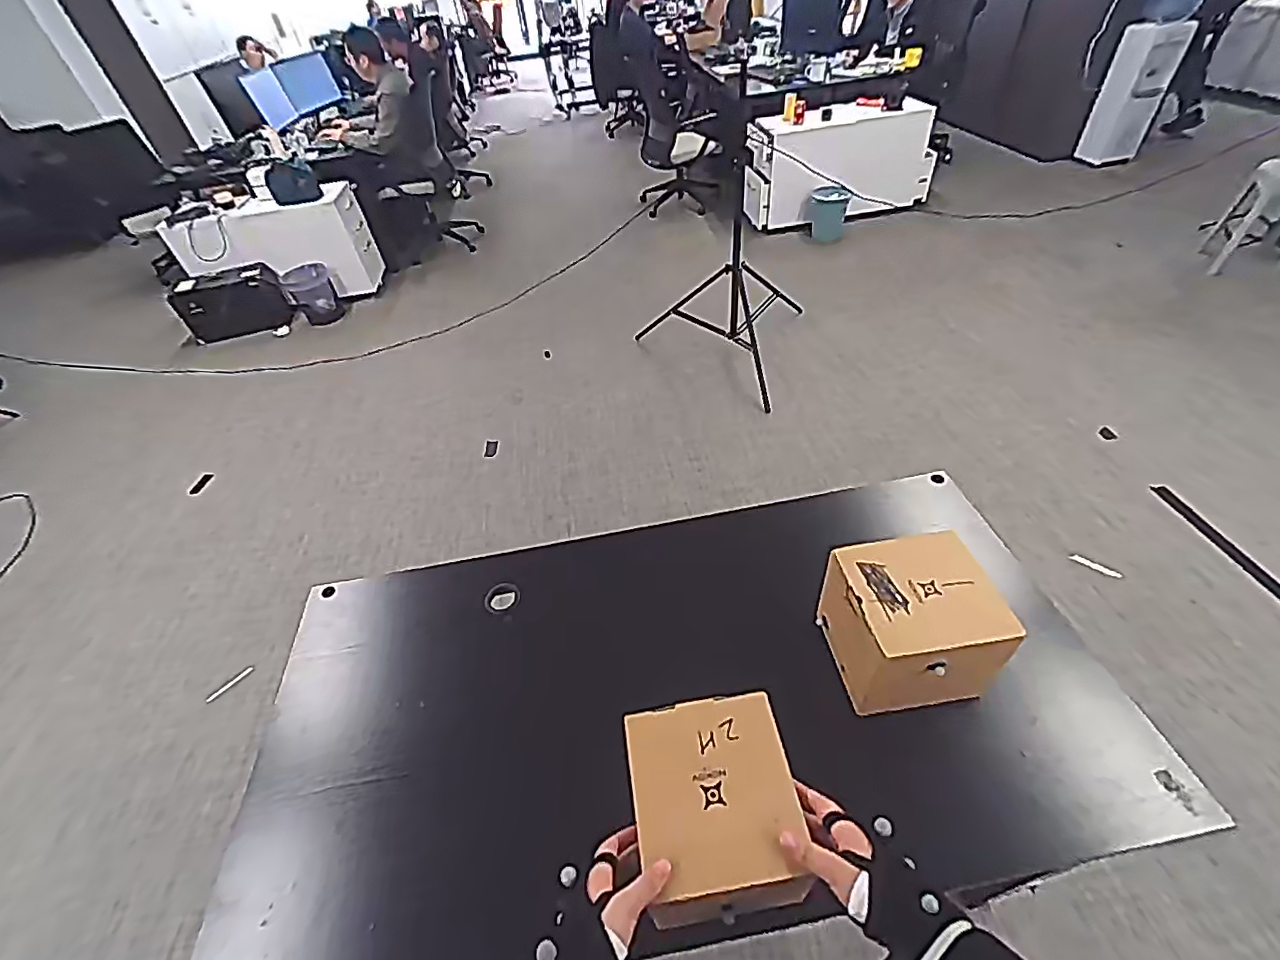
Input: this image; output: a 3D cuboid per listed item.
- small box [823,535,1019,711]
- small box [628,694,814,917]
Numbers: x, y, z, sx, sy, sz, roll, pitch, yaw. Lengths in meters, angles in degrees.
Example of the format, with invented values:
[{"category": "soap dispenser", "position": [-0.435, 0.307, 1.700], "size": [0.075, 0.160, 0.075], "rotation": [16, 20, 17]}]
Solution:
[{"category": "small box", "position": [0.368, 0.202, 0.753], "size": [0.179, 0.176, 0.168], "rotation": [-9, 44, -1]}, {"category": "small box", "position": [0.084, 0.376, 0.619], "size": [0.168, 0.176, 0.179], "rotation": [-9, 44, -1]}]
